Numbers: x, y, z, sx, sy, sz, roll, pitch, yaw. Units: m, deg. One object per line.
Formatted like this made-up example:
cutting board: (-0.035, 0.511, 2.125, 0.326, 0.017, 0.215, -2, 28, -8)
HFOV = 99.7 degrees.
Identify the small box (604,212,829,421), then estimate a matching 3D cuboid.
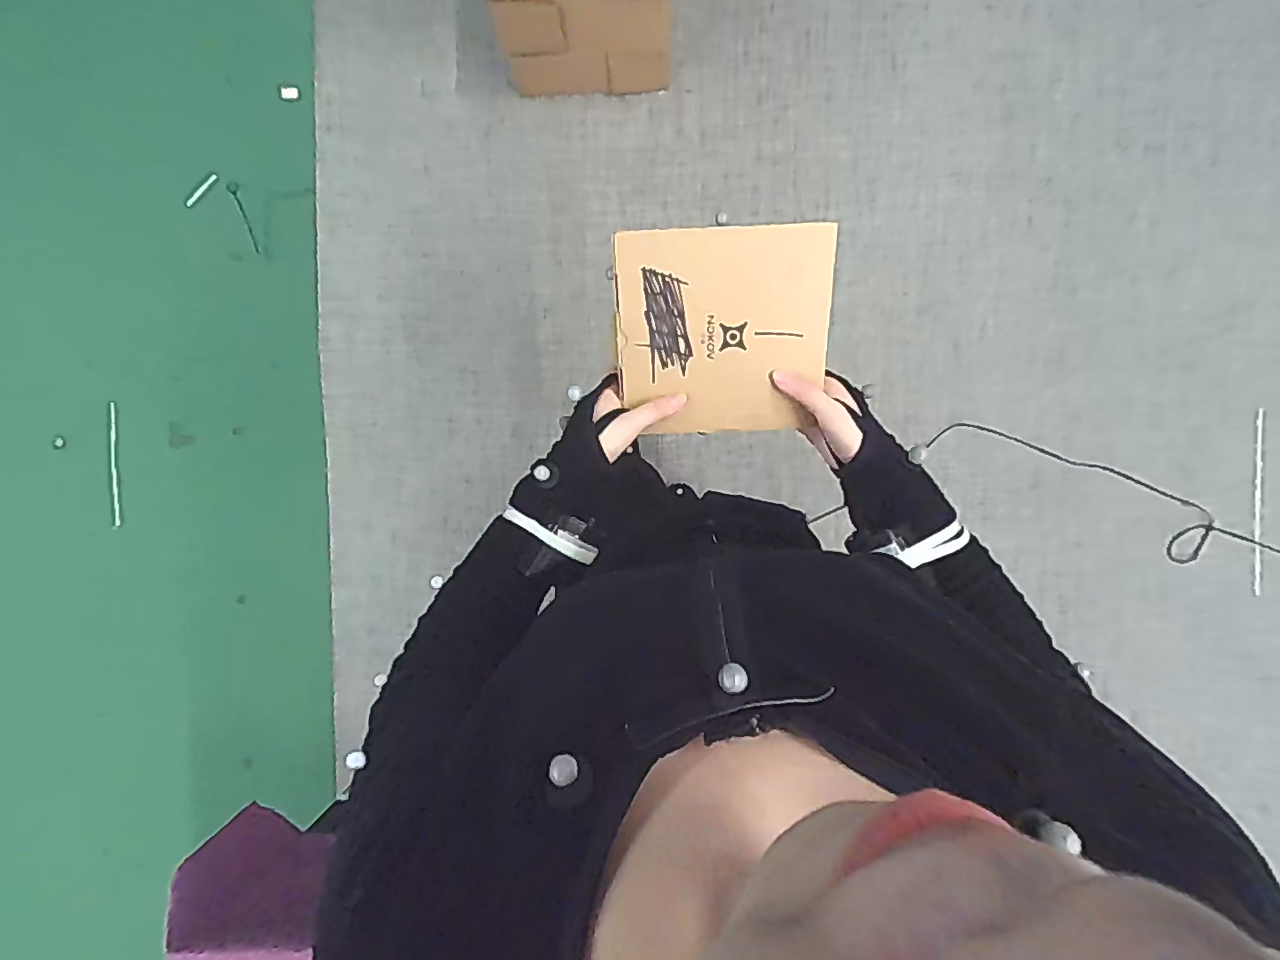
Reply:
small box: (0.062, -0.158, 0.520, 0.179, 0.176, 0.168, -2, 112, 0)
